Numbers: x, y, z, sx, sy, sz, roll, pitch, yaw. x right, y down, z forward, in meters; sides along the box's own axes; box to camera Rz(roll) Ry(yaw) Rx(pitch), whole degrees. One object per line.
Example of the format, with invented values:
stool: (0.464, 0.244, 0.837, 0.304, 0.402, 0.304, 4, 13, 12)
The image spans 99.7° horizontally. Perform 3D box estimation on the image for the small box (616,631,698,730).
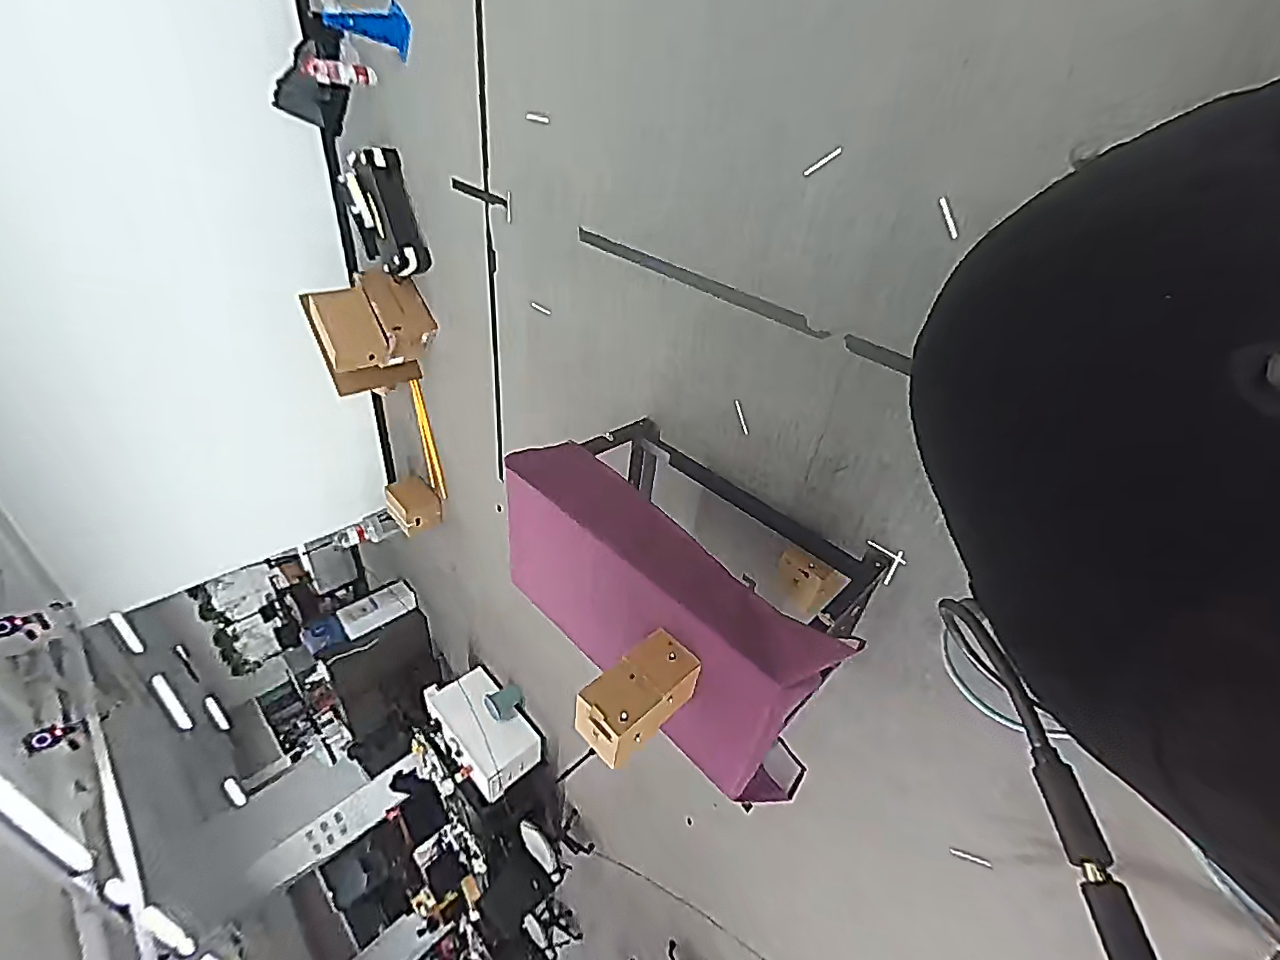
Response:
small box: (0.051, 0.585, 1.591, 0.168, 0.176, 0.179, 34, 132, 32)
